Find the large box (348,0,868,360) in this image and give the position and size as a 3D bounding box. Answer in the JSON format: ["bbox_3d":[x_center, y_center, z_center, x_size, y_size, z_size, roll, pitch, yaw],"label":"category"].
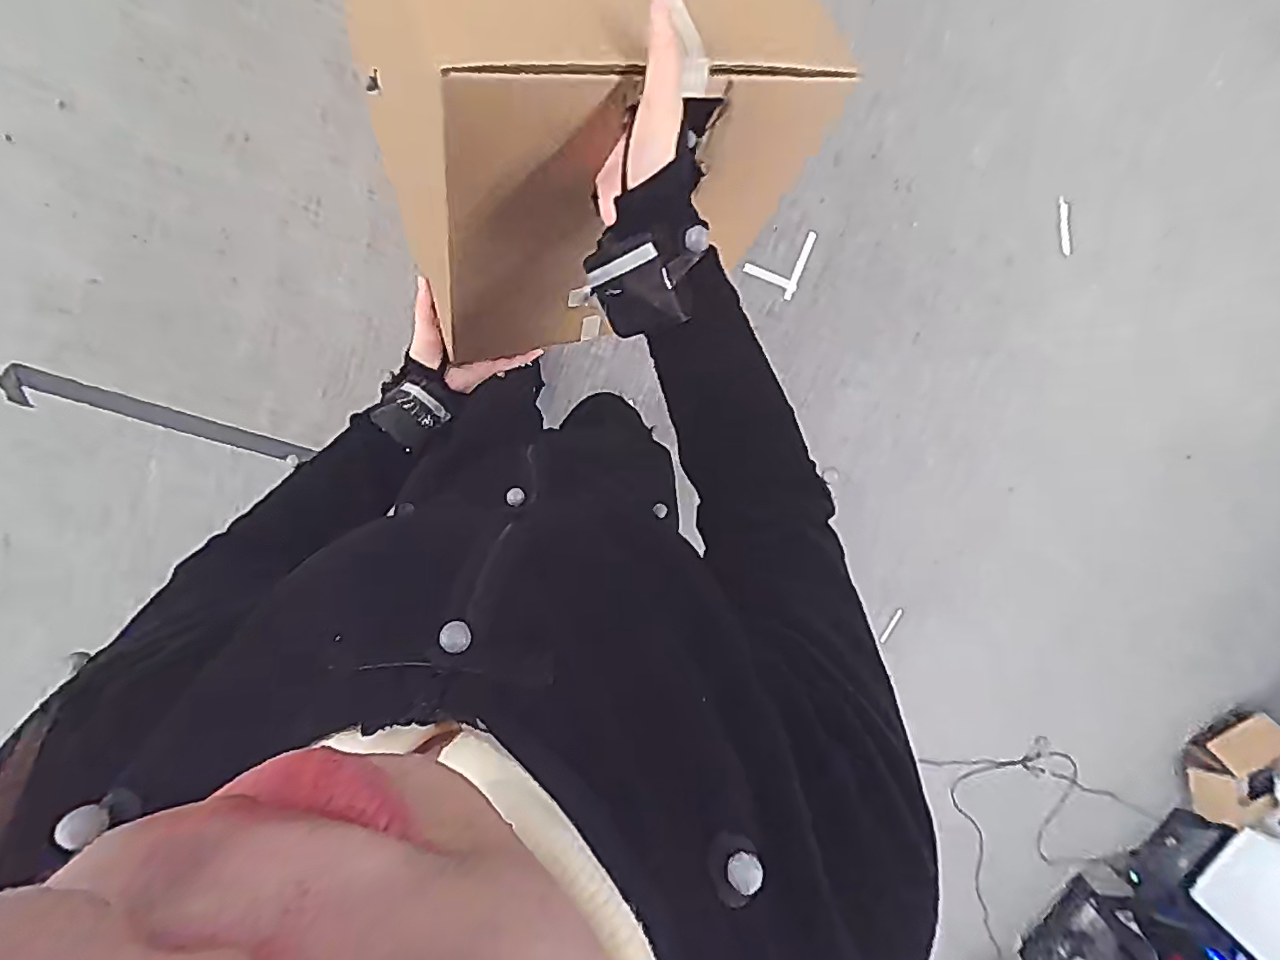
[{"bbox_3d":[-0.079,-0.385,0.514,0.320,0.320,0.408,-17,77,-23],"label":"large box"}]
